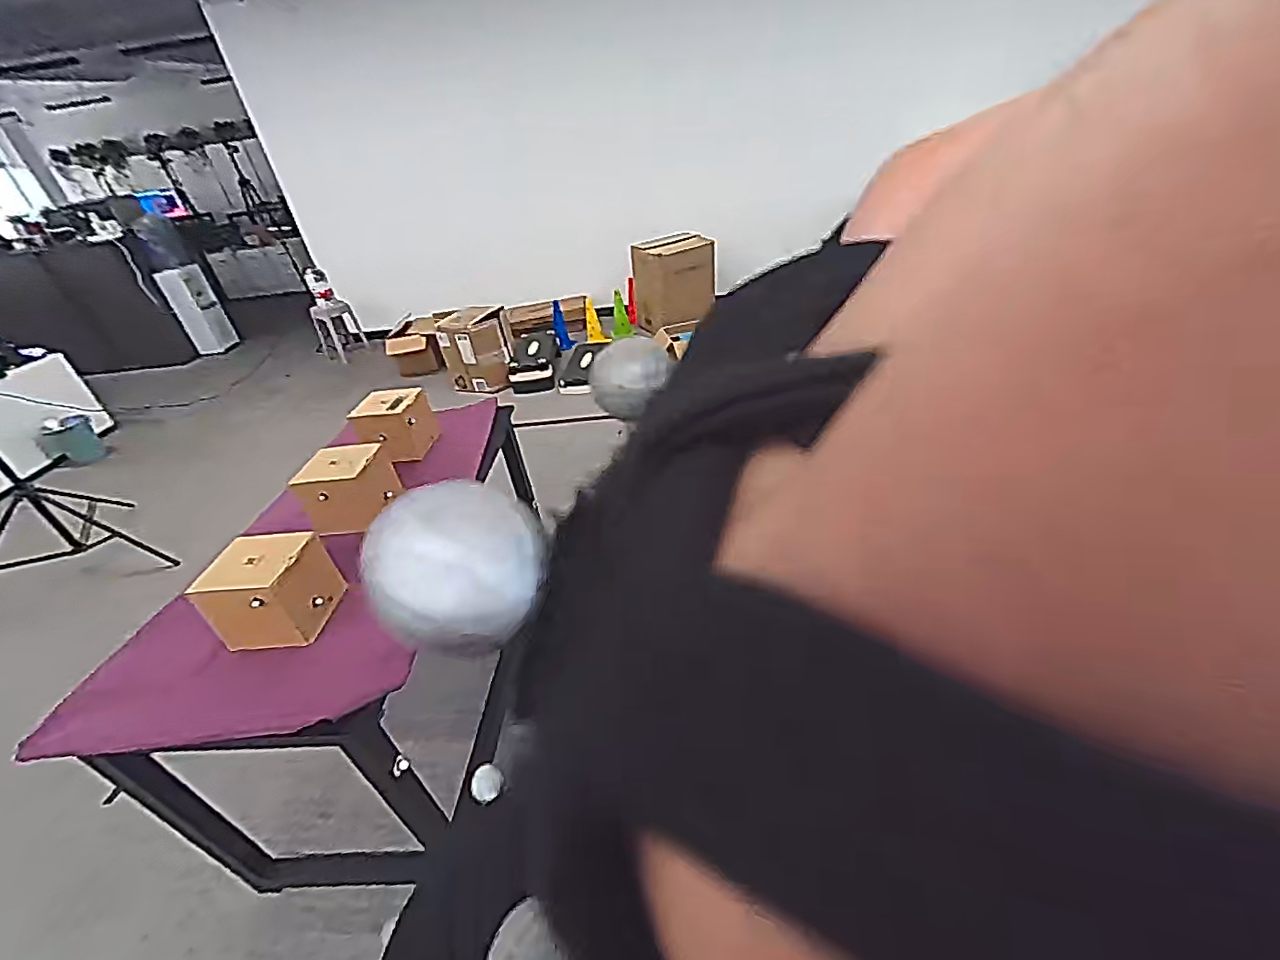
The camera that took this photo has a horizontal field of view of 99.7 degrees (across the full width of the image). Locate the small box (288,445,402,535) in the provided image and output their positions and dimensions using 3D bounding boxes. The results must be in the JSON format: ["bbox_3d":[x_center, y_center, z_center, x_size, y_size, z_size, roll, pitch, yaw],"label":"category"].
[{"bbox_3d":[-0.756,0.029,1.406,0.179,0.176,0.168,-5,35,4],"label":"small box"}]

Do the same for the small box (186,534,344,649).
[{"bbox_3d":[-0.759,0.232,1.116,0.179,0.176,0.168,-5,34,3],"label":"small box"}]
